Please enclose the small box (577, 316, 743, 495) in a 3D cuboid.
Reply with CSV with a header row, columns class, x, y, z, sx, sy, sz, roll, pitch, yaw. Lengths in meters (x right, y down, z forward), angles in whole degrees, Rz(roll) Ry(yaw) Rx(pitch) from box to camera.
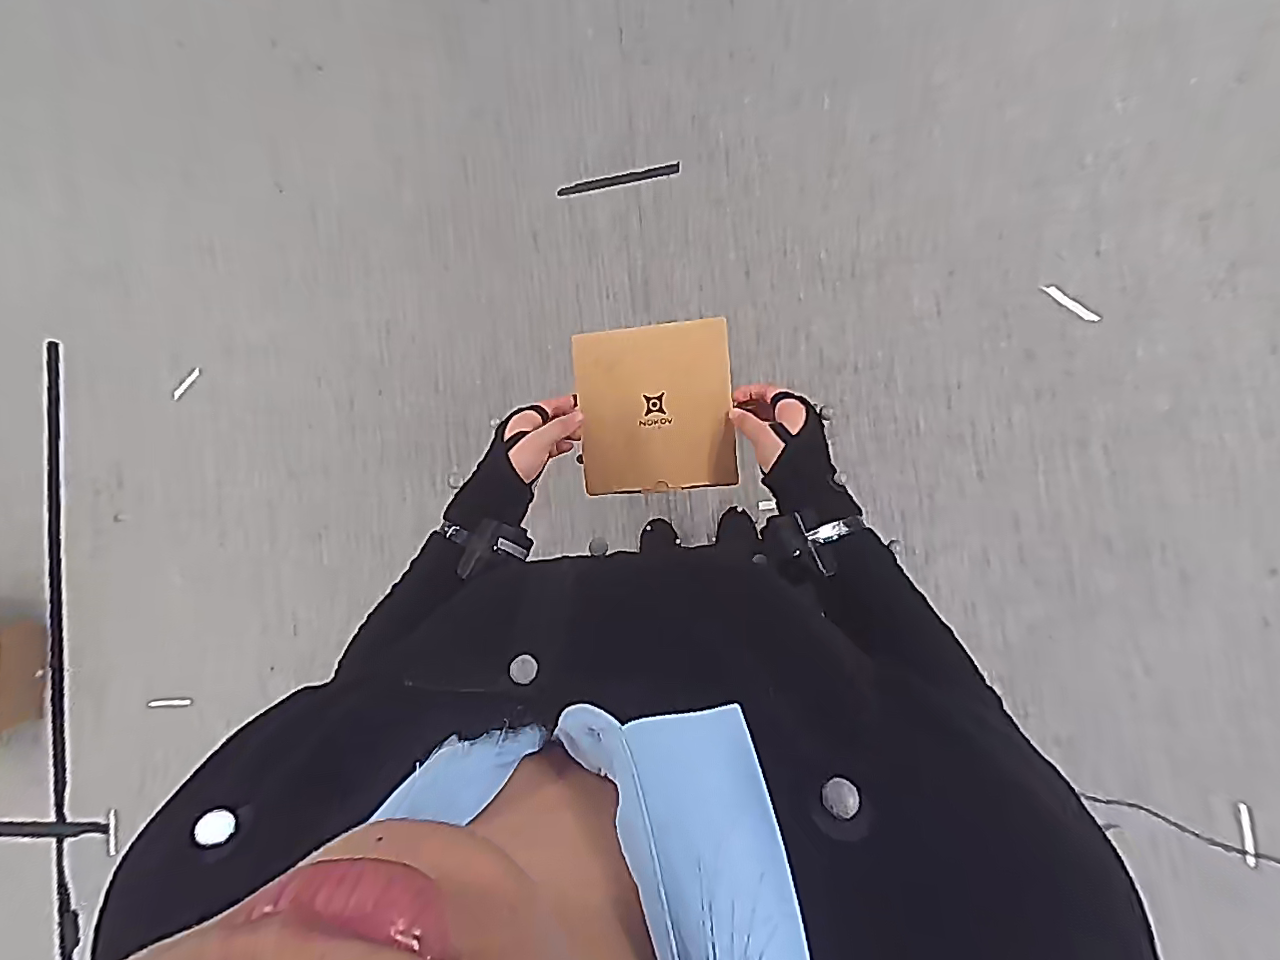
class,x,y,z,sx,sy,sz,roll,pitch,yaw
small box,0.028,-0.083,0.642,0.168,0.176,0.179,-5,96,7
